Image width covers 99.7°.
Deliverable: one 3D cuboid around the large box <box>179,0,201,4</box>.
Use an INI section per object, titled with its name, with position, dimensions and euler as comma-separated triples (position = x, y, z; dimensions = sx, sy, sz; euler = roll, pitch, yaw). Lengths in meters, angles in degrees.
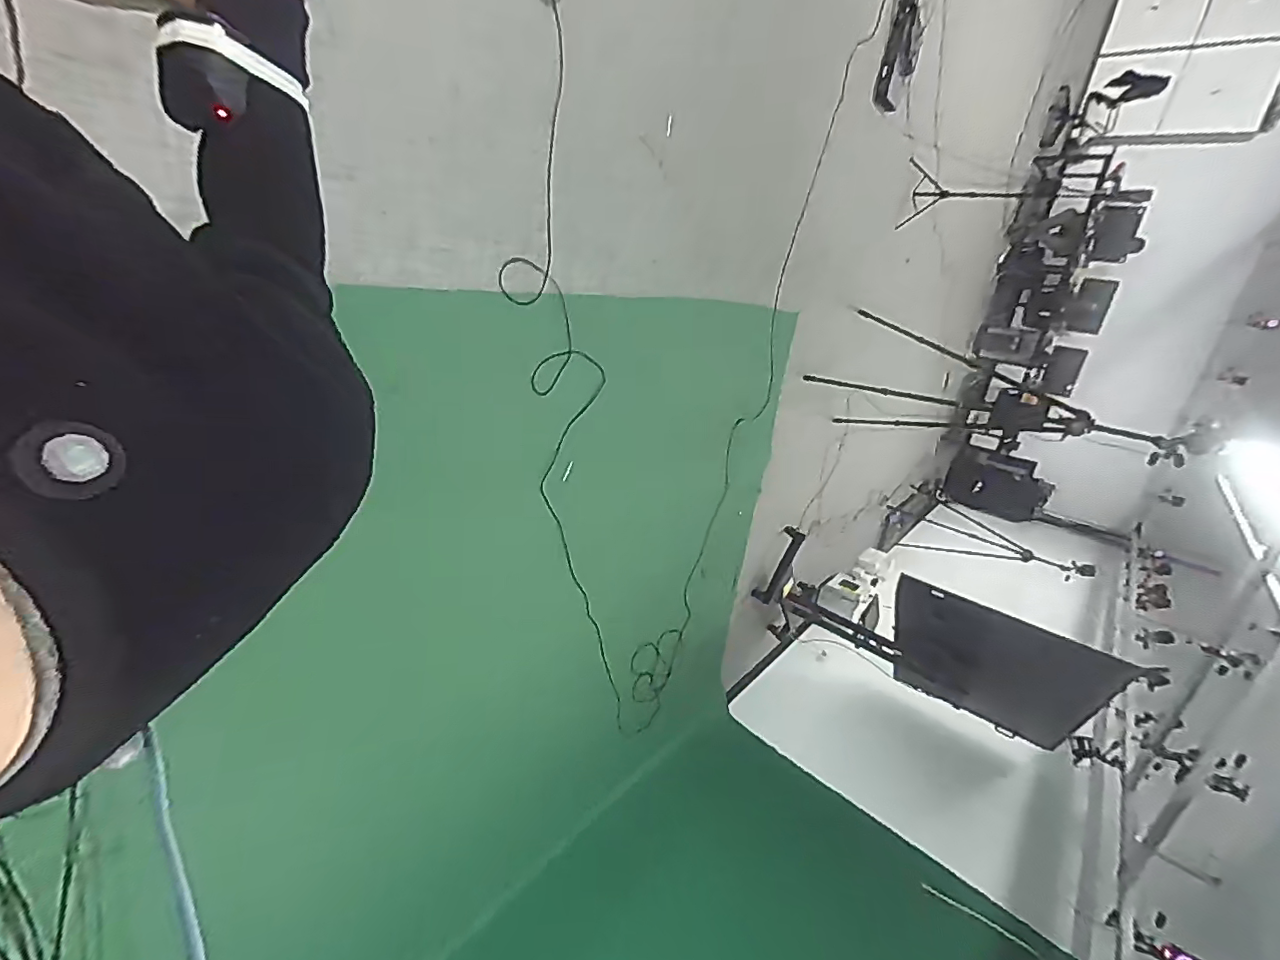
[large box]
position = -0.528, -0.525, 0.273
dimensions = 0.408, 0.320, 0.320
euler = -20, 133, -51
